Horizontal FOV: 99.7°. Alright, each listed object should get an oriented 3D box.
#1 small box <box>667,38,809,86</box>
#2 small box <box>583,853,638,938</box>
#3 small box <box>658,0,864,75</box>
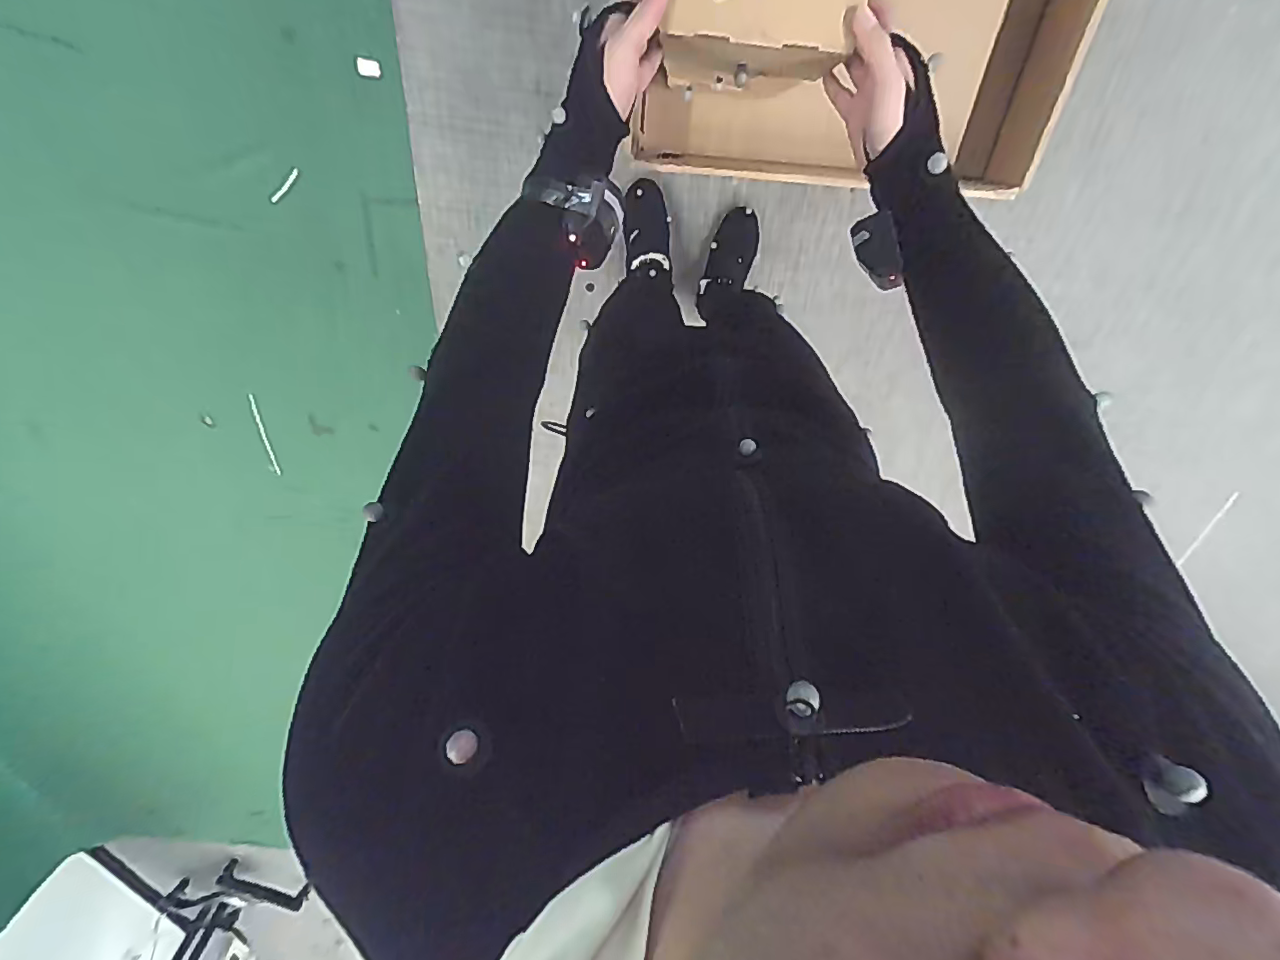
[{"bbox_3d":[0.123,-0.578,0.625,0.168,0.176,0.179,7,123,0],"label":"small box"},{"bbox_3d":[-0.091,1.350,1.758,0.168,0.176,0.179,2,123,1],"label":"small box"},{"bbox_3d":[0.110,-0.479,0.467,0.168,0.176,0.179,8,120,1],"label":"small box"}]
